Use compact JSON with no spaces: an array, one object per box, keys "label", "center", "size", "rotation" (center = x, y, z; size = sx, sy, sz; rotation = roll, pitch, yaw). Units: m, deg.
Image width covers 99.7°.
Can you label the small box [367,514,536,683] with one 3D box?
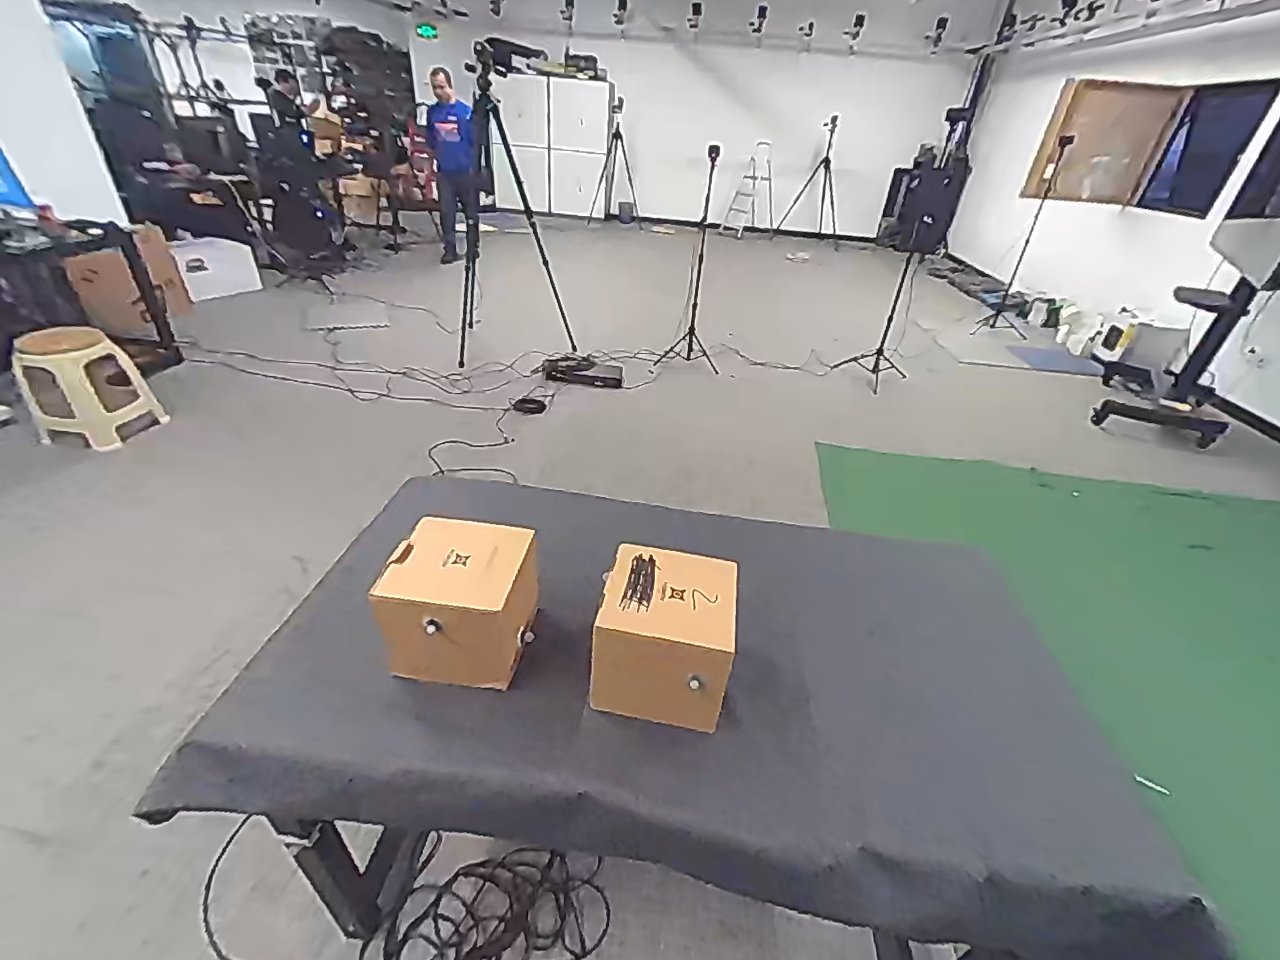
[{"label":"small box","center":[-0.259,0.173,0.790],"size":[0.179,0.176,0.168],"rotation":[8,34,3]}]
